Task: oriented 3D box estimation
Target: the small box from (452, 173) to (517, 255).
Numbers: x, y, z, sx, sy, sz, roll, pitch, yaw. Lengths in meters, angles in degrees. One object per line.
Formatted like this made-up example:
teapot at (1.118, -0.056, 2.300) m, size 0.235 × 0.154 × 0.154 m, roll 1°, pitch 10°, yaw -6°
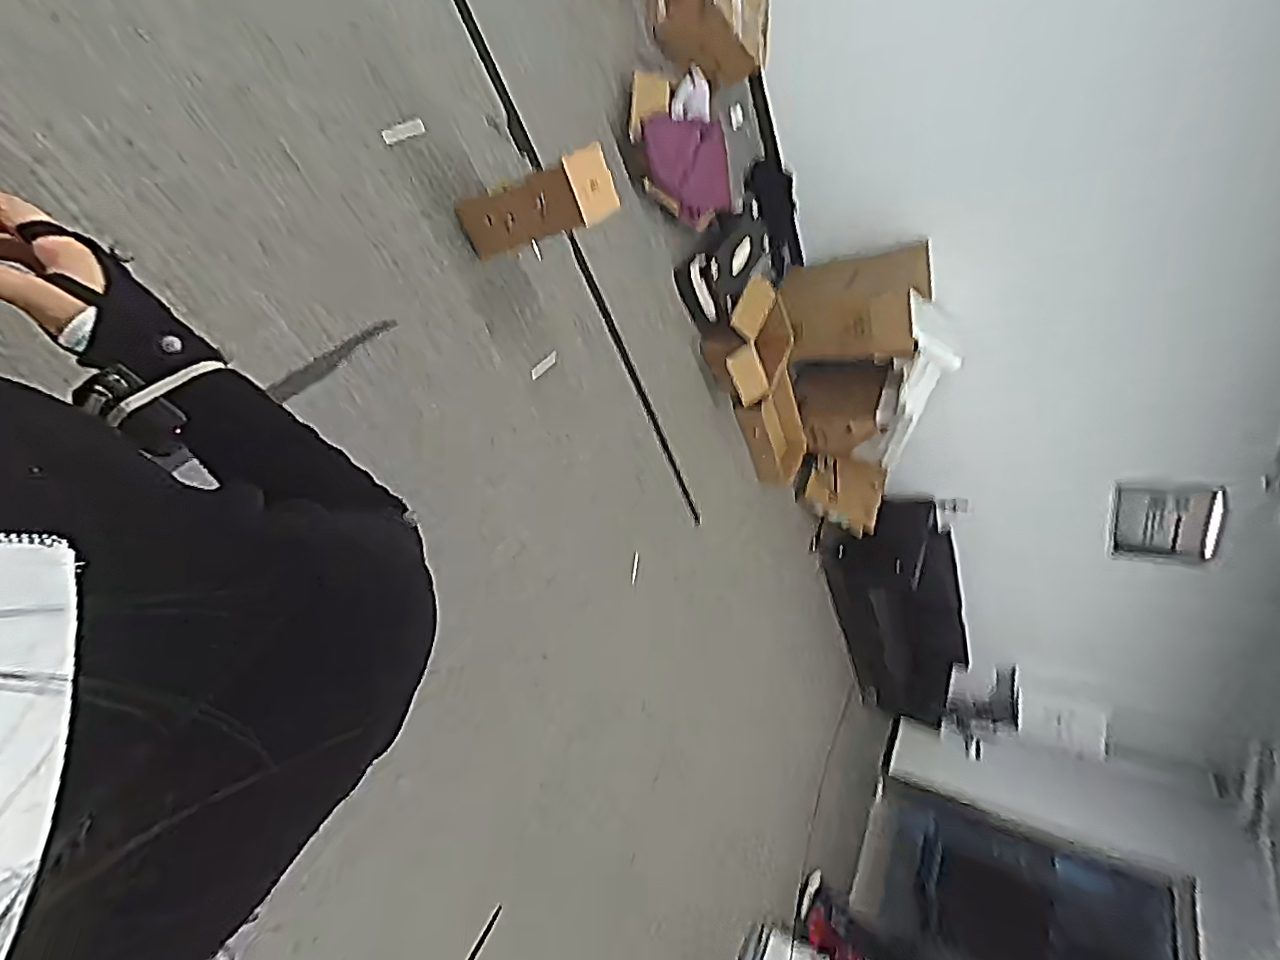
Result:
small box at (-0.460, -0.840, 1.718) m, size 0.168 × 0.176 × 0.179 m, roll -49°, pitch 130°, yaw -37°

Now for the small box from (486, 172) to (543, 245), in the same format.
small box at (-0.325, -0.829, 1.623) m, size 0.179 × 0.176 × 0.168 m, roll -49°, pitch 129°, yaw -37°

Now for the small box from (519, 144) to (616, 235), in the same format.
small box at (-0.204, -0.811, 1.515) m, size 0.179 × 0.176 × 0.168 m, roll -49°, pitch 128°, yaw -36°
